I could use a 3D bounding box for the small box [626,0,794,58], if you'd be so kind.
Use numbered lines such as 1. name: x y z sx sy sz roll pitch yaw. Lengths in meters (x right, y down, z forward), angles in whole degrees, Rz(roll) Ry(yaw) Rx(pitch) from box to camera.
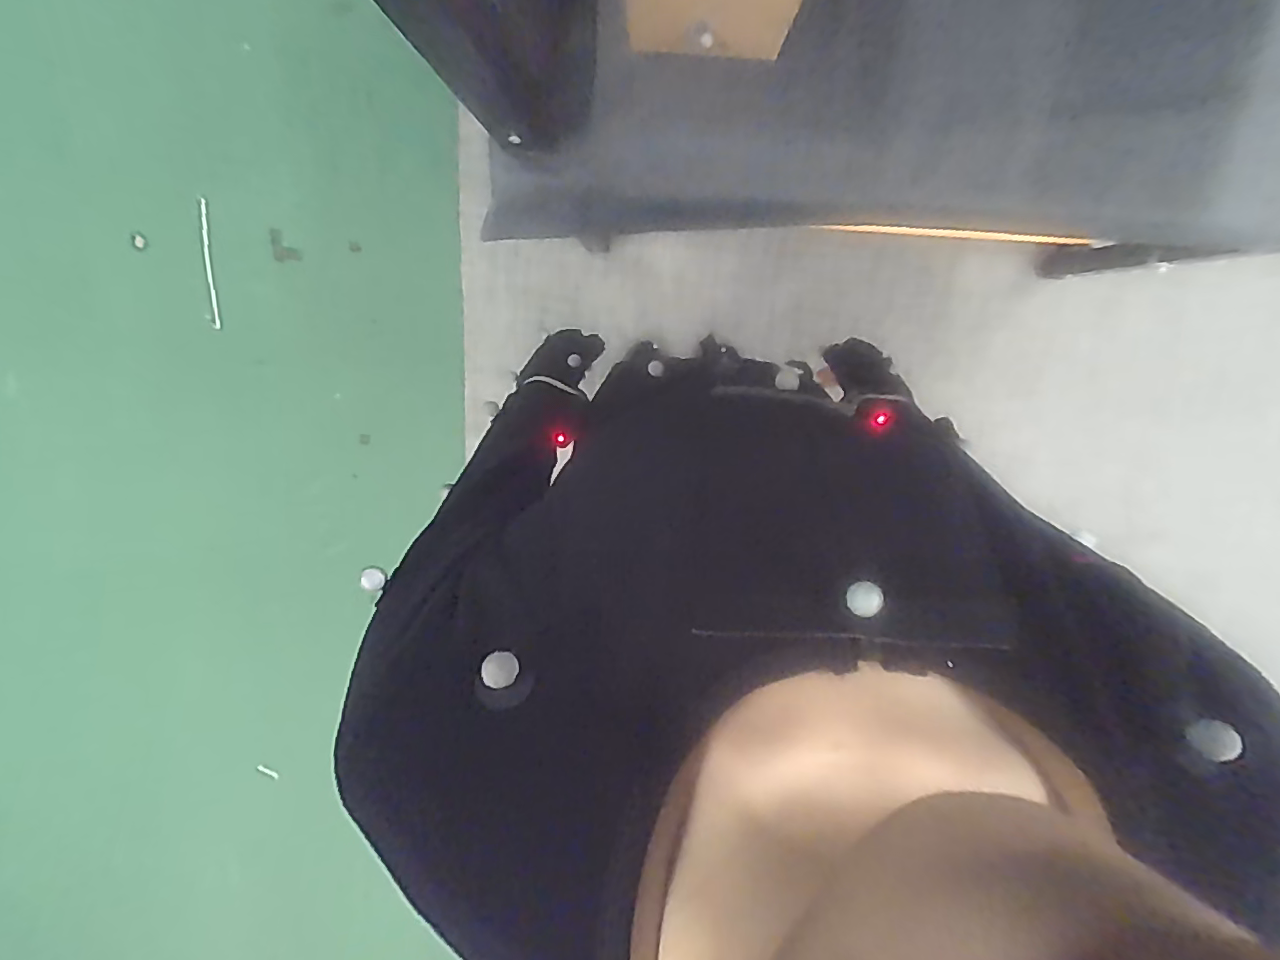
1. small box: 0.070 -0.540 0.504 0.168 0.176 0.179 4 105 1

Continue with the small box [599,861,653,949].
1. small box: -0.043 1.402 1.792 0.168 0.176 0.179 -3 105 4
